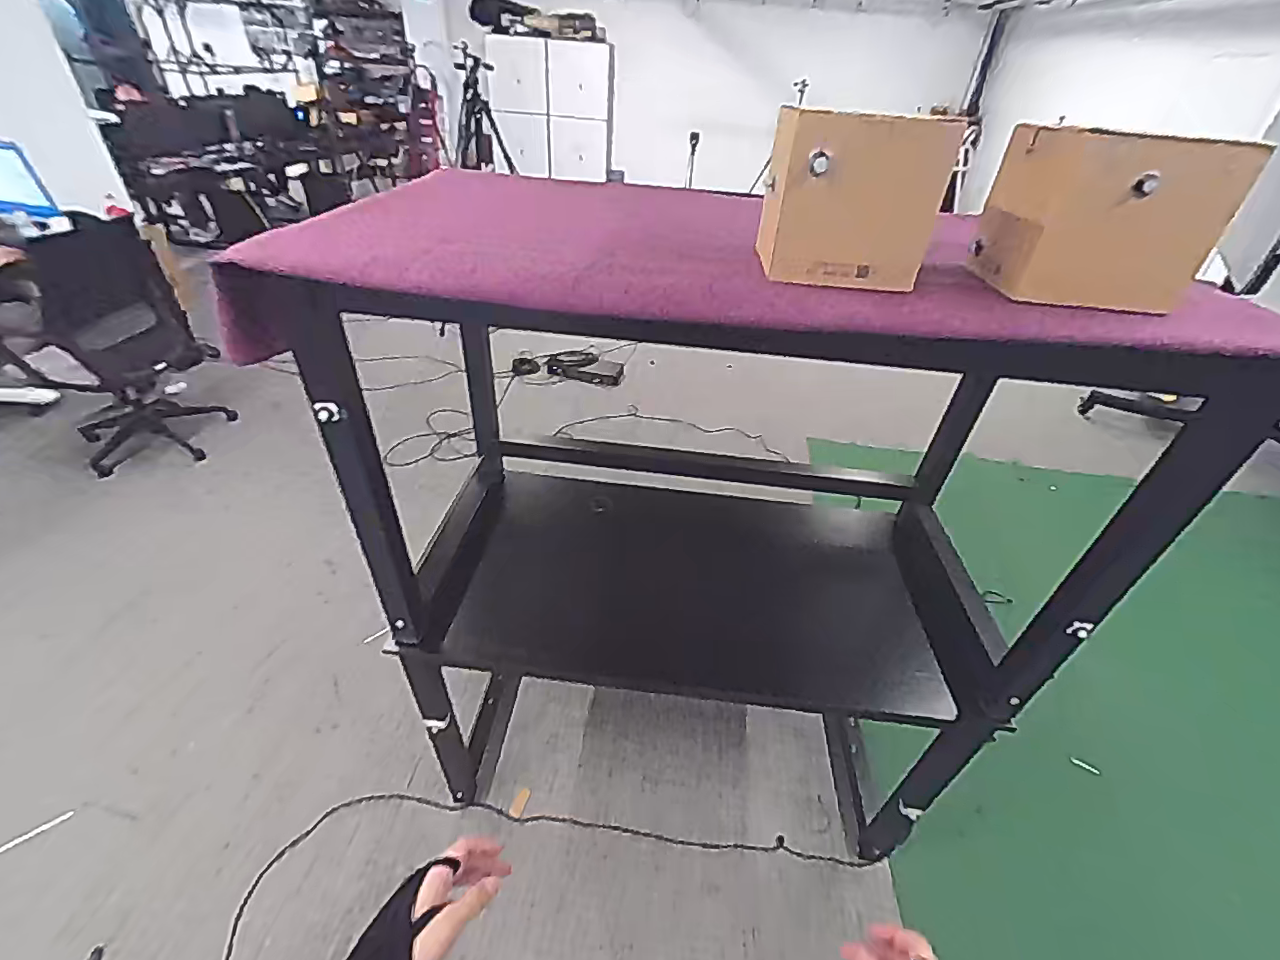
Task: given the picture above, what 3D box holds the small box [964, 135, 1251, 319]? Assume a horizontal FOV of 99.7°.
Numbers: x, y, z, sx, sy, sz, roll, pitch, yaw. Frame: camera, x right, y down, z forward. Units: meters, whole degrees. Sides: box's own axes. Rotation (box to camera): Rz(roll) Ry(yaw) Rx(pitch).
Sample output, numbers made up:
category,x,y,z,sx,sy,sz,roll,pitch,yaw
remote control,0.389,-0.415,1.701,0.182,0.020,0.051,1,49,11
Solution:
category,x,y,z,sx,sy,sz,roll,pitch,yaw
small box,0.523,-0.303,0.647,0.179,0.176,0.168,7,36,3
